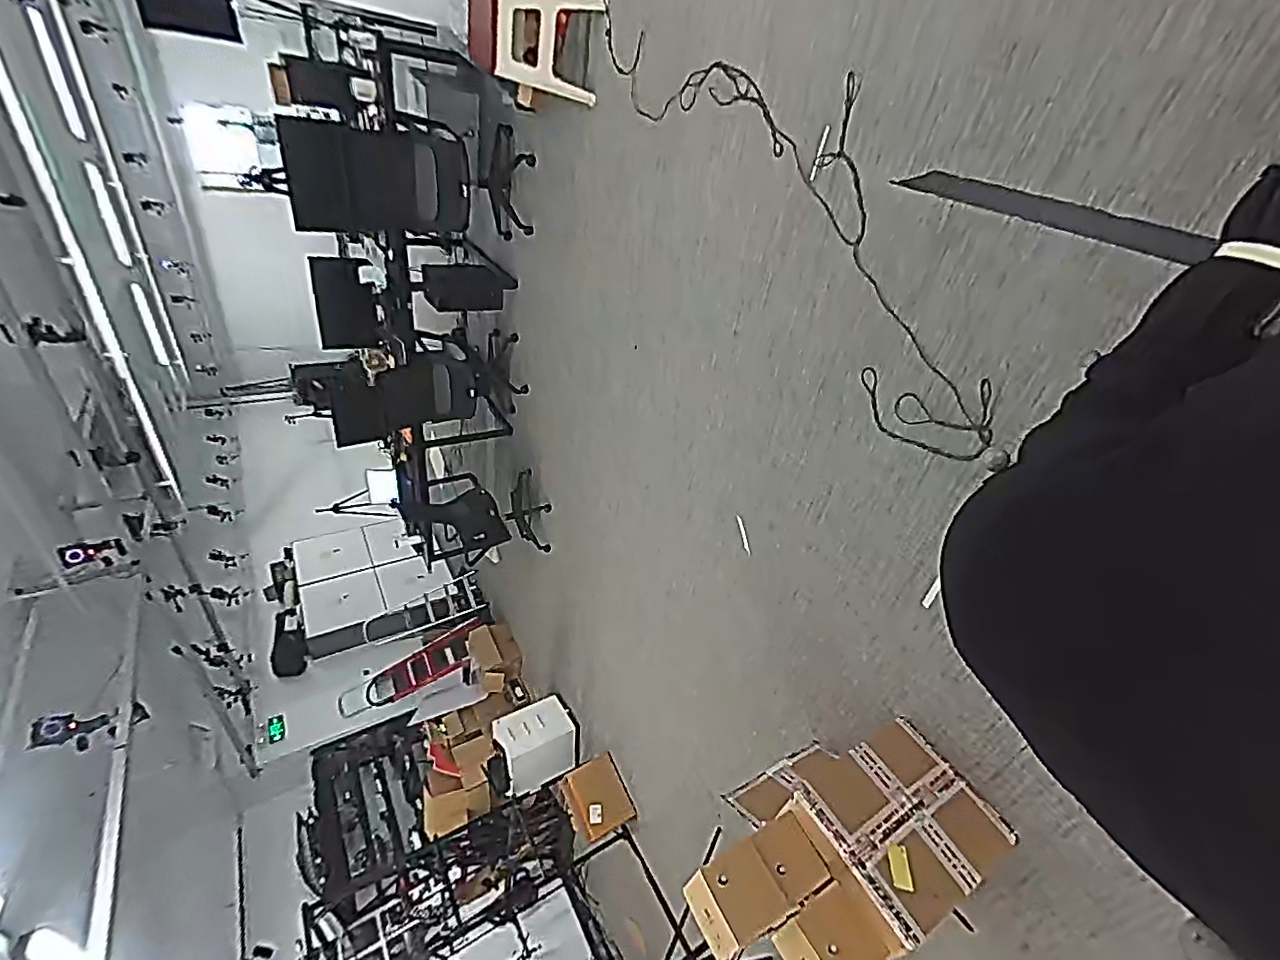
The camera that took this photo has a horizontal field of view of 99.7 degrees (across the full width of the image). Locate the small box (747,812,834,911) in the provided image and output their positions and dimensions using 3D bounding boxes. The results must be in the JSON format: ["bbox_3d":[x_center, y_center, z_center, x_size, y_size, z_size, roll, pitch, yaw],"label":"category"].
[{"bbox_3d":[0.388,1.048,1.467,0.179,0.176,0.168,55,142,37],"label":"small box"}]

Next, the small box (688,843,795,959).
[{"bbox_3d":[0.254,1.058,1.368,0.179,0.176,0.168,52,141,39],"label":"small box"}]
